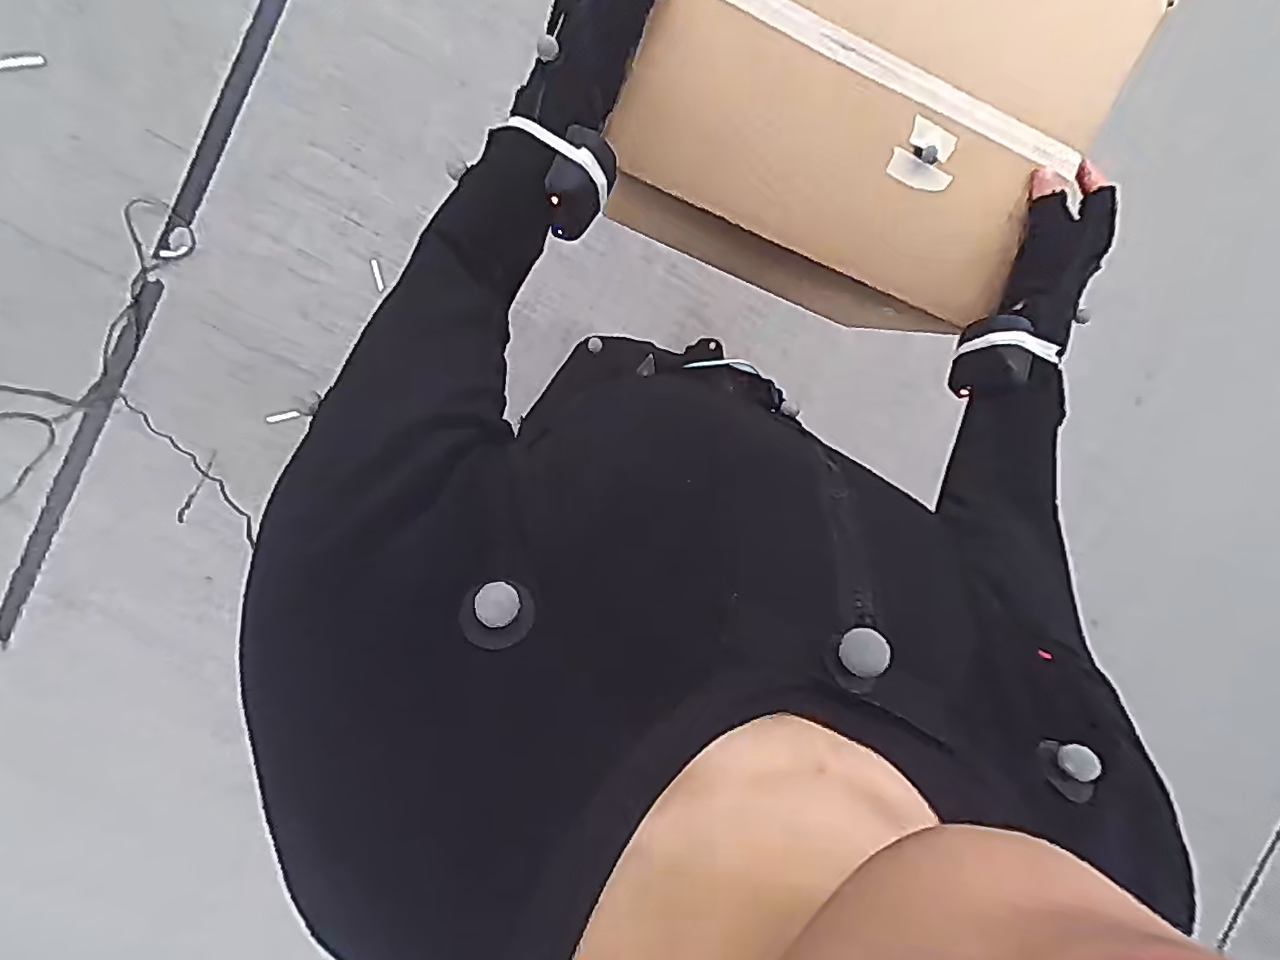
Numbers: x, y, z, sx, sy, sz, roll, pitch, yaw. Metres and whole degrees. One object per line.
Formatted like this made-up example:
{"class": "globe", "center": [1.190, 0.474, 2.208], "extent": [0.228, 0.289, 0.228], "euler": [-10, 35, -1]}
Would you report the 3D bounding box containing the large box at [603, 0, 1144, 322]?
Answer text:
{"class": "large box", "center": [0.192, -0.401, 0.614], "extent": [0.408, 0.320, 0.320], "euler": [20, 106, -10]}
